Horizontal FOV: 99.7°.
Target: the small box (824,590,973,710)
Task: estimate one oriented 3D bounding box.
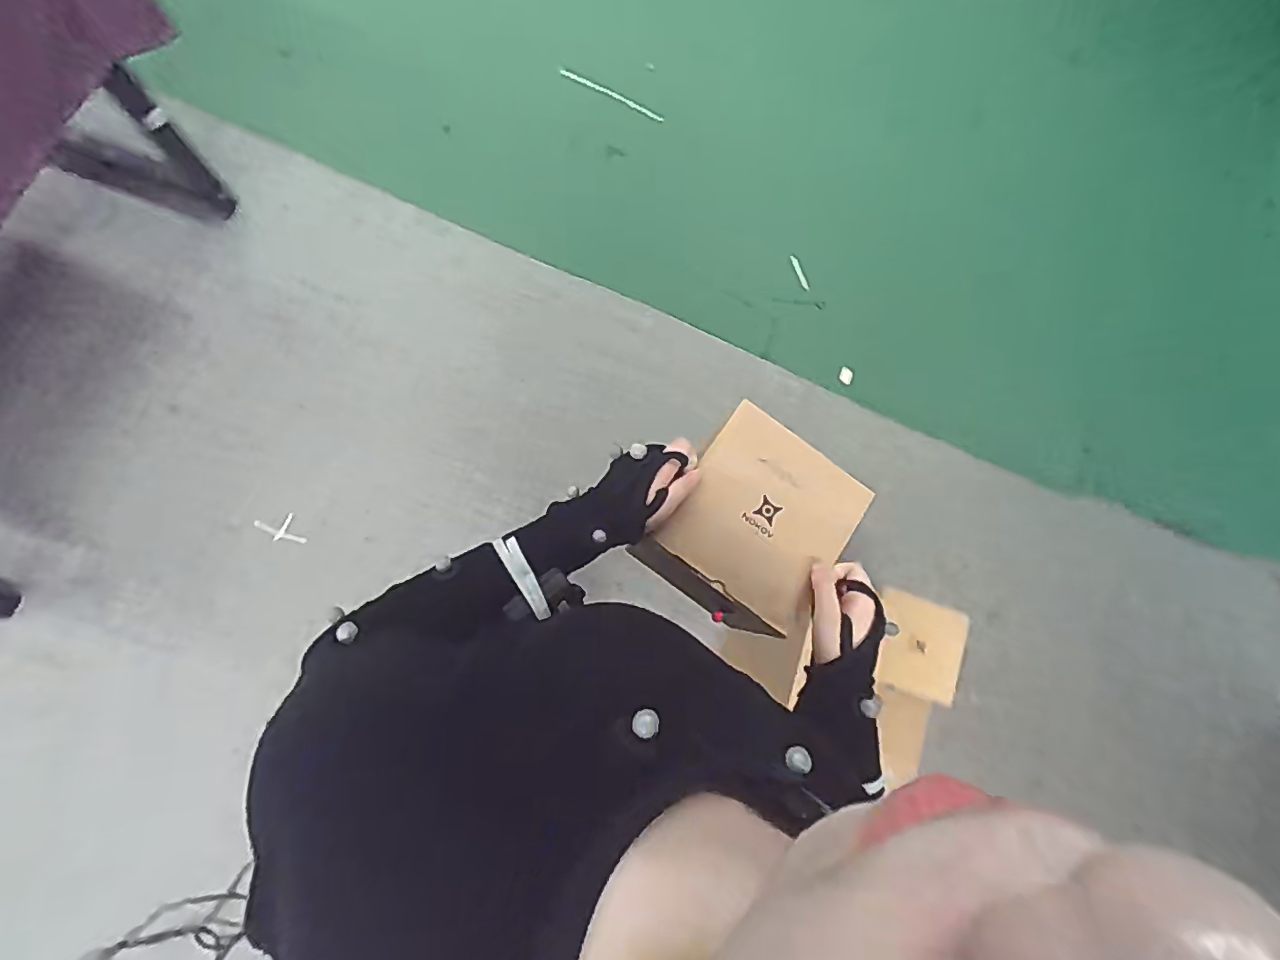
[{"bbox_3d":[0.490,0.315,1.041,0.179,0.176,0.168,21,79,-4],"label":"small box"}]
